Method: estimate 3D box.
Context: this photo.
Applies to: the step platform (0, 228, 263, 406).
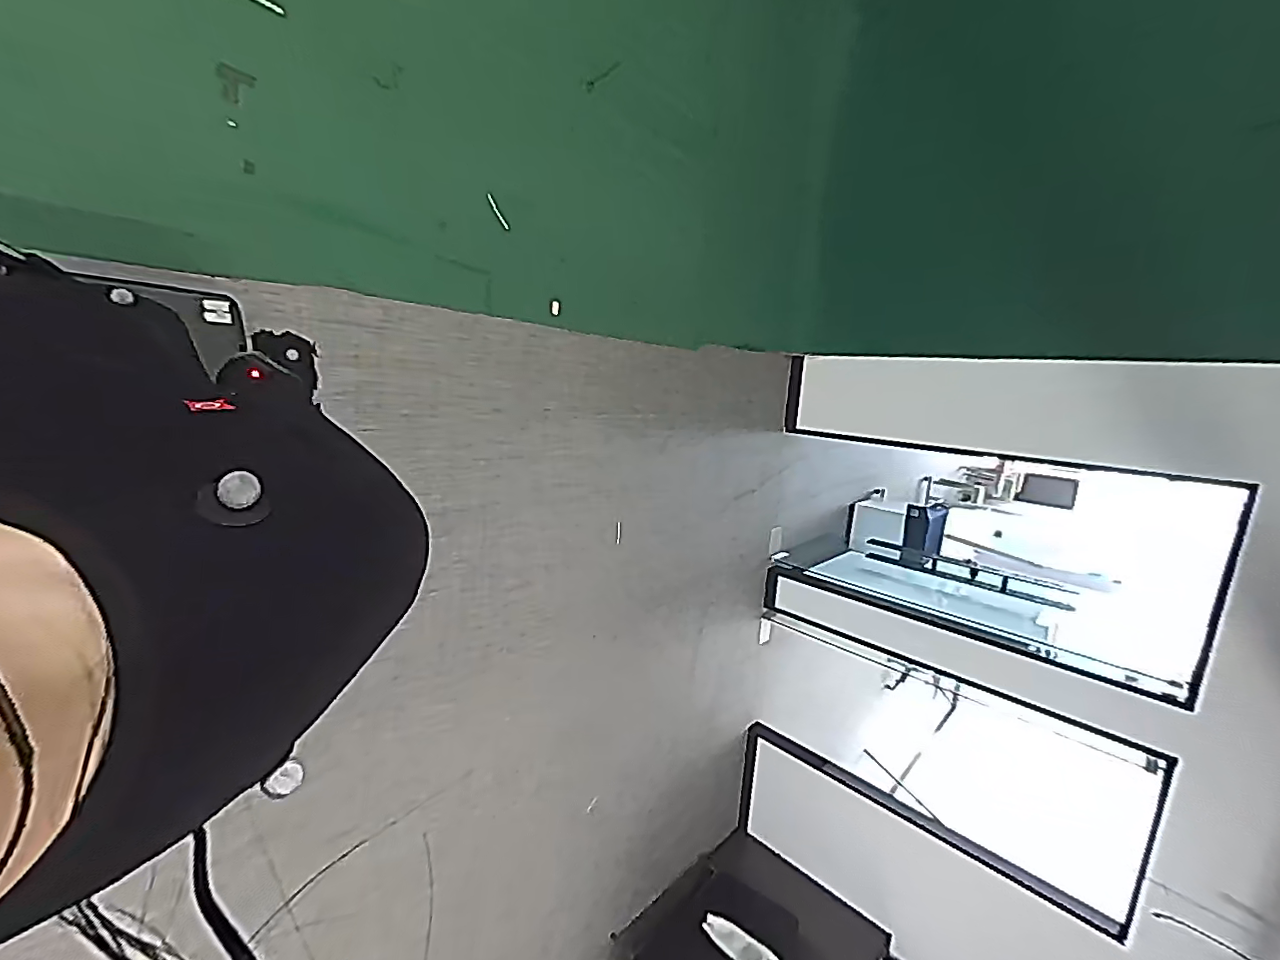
[{"bbox_3d":[-1.058,-0.280,0.904,0.684,0.204,0.286,-7,106,-46],"label":"step platform"}]
